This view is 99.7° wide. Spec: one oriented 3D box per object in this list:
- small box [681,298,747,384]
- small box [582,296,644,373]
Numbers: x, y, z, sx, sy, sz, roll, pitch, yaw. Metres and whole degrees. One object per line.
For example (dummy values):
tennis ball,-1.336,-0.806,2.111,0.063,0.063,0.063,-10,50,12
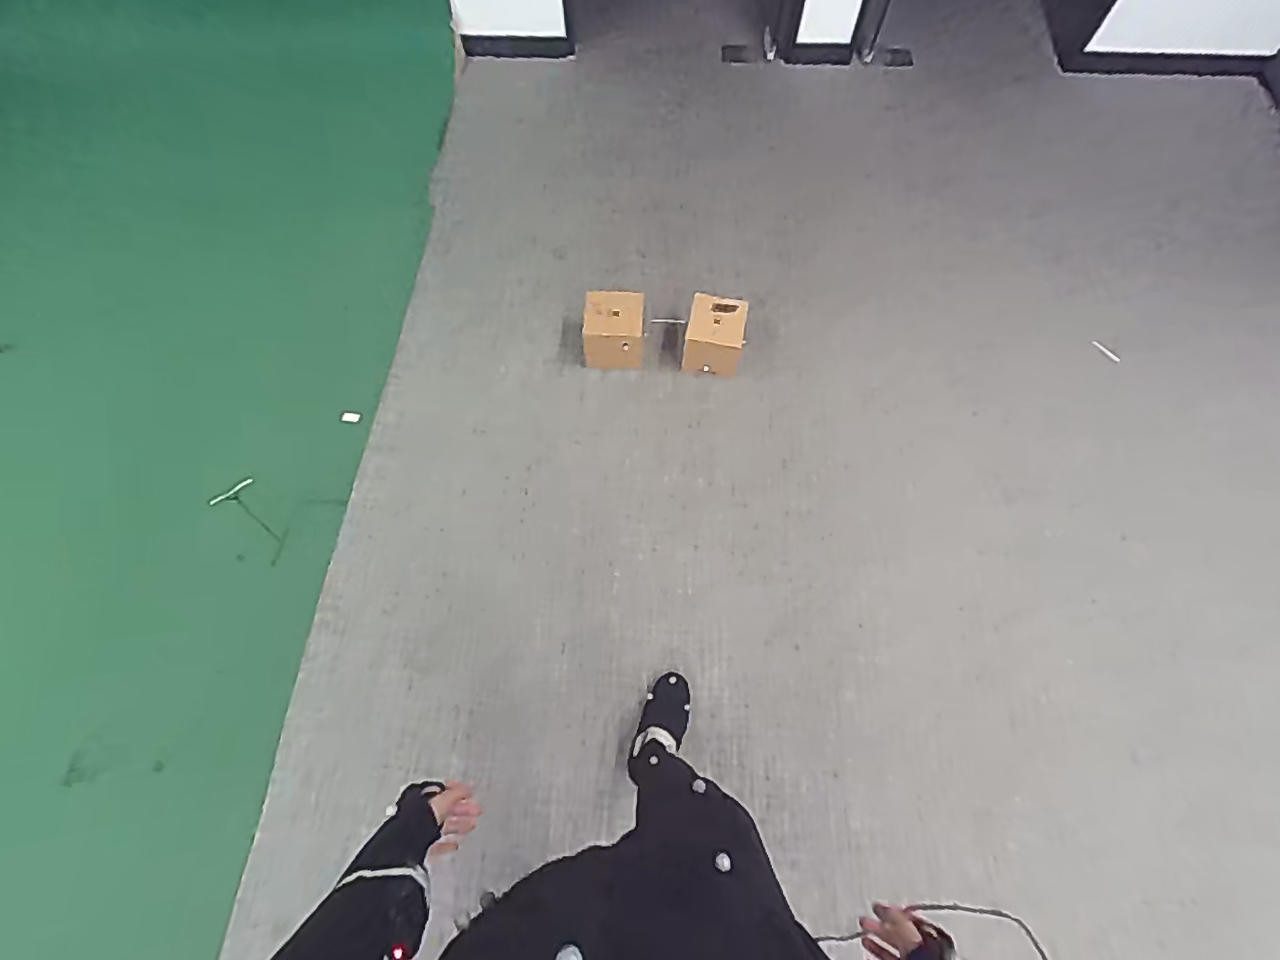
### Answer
small box,0.225,-0.425,1.670,0.168,0.176,0.179,11,67,5
small box,-0.080,-0.447,1.677,0.179,0.176,0.168,2,66,2
